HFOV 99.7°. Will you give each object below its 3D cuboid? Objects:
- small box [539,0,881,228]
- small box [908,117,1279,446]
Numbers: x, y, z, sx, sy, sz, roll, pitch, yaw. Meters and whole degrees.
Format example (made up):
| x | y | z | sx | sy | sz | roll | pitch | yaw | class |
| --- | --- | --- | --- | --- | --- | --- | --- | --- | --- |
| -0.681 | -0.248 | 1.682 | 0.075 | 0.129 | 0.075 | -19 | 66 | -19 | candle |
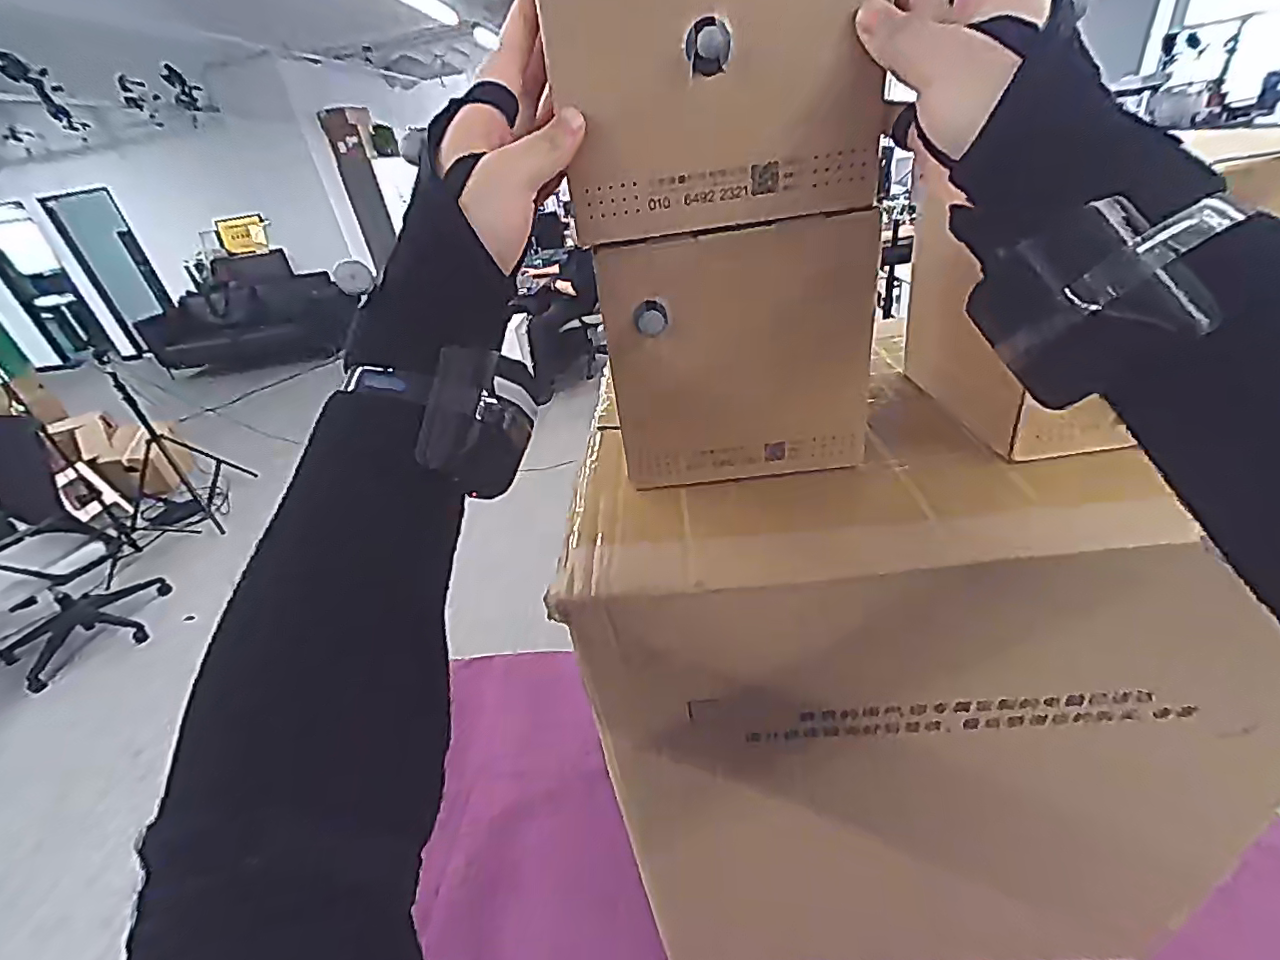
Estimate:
| x | y | z | sx | sy | sz | roll | pitch | yaw | class |
| --- | --- | --- | --- | --- | --- | --- | --- | --- | --- |
| 0.034 | -0.256 | 0.325 | 0.168 | 0.176 | 0.179 | -7 | 31 | 1 | small box |
| 0.312 | -0.142 | 0.384 | 0.168 | 0.176 | 0.179 | -9 | 32 | 4 | small box |
